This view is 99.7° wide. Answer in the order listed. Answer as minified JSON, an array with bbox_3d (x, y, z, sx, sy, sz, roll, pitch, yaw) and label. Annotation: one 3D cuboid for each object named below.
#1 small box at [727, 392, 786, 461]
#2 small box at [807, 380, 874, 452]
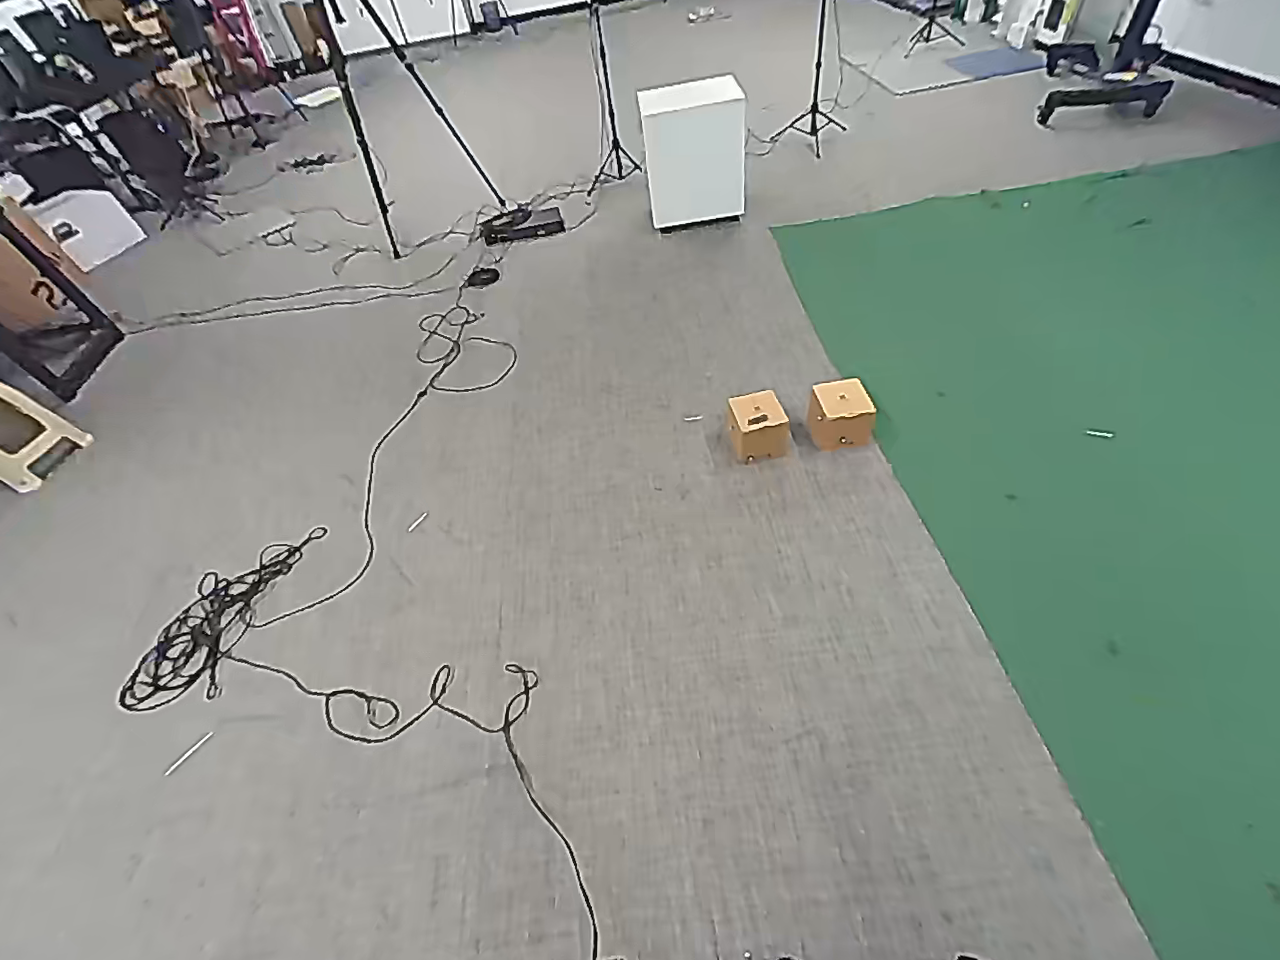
[{"bbox_3d":[0.412,-0.184,1.929,0.168,0.176,0.179,-12,48,-1],"label":"small box"},{"bbox_3d":[0.702,-0.225,1.918,0.168,0.176,0.179,-10,49,2],"label":"small box"}]
